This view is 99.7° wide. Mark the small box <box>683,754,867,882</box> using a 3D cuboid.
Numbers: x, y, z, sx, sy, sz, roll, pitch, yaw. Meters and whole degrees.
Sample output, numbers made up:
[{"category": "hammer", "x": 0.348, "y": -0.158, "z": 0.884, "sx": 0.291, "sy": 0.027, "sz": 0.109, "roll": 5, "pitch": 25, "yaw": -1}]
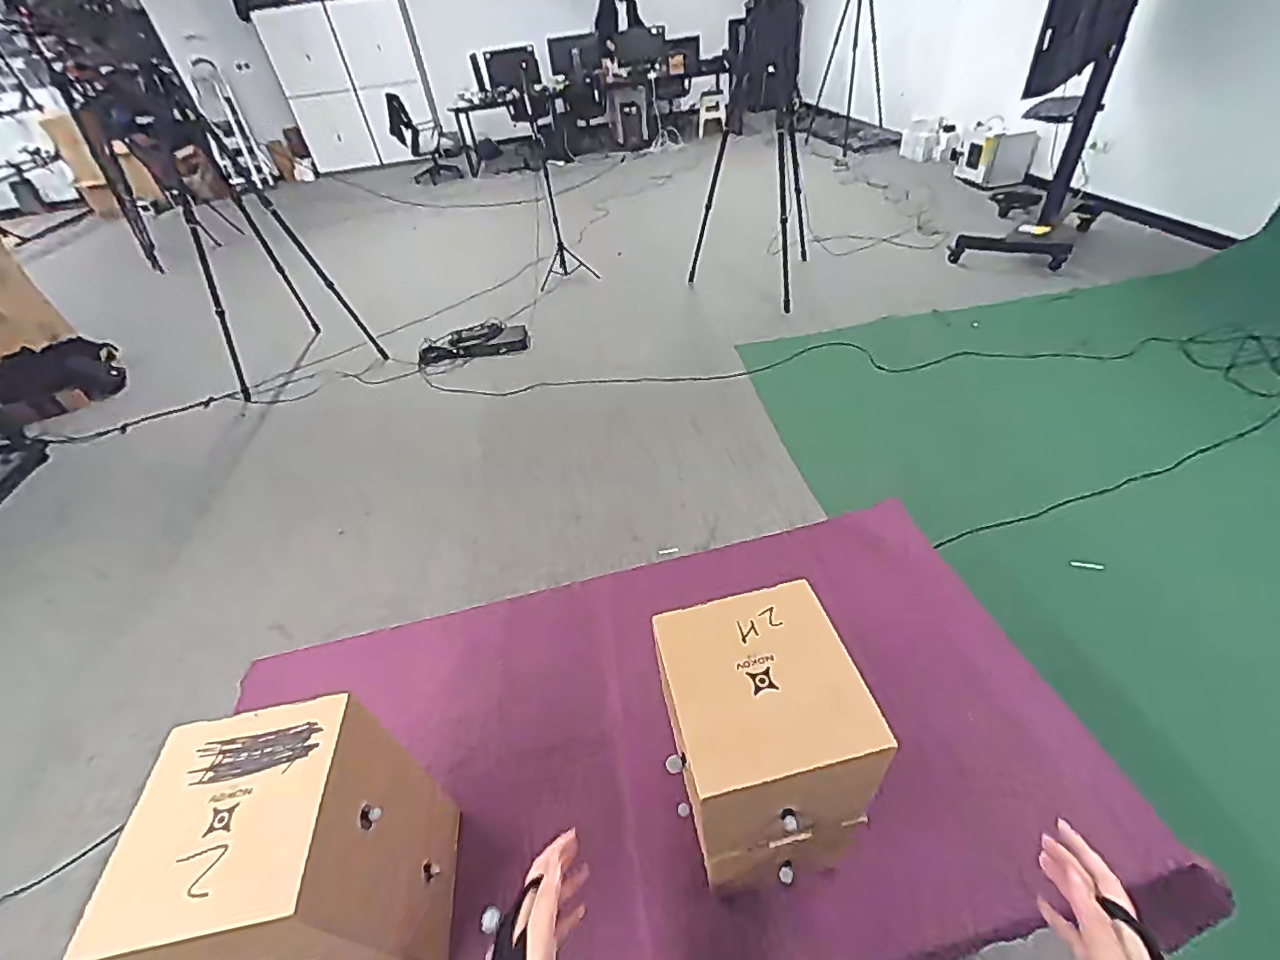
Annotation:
[{"category": "small box", "x": 0.144, "y": 0.355, "z": 0.649, "sx": 0.168, "sy": 0.176, "sz": 0.179, "roll": -12, "pitch": 43, "yaw": -4}]

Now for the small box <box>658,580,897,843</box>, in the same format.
[{"category": "small box", "x": 0.122, "y": 0.234, "z": 0.539, "sx": 0.168, "sy": 0.176, "sz": 0.179, "roll": -12, "pitch": 42, "yaw": -4}]
